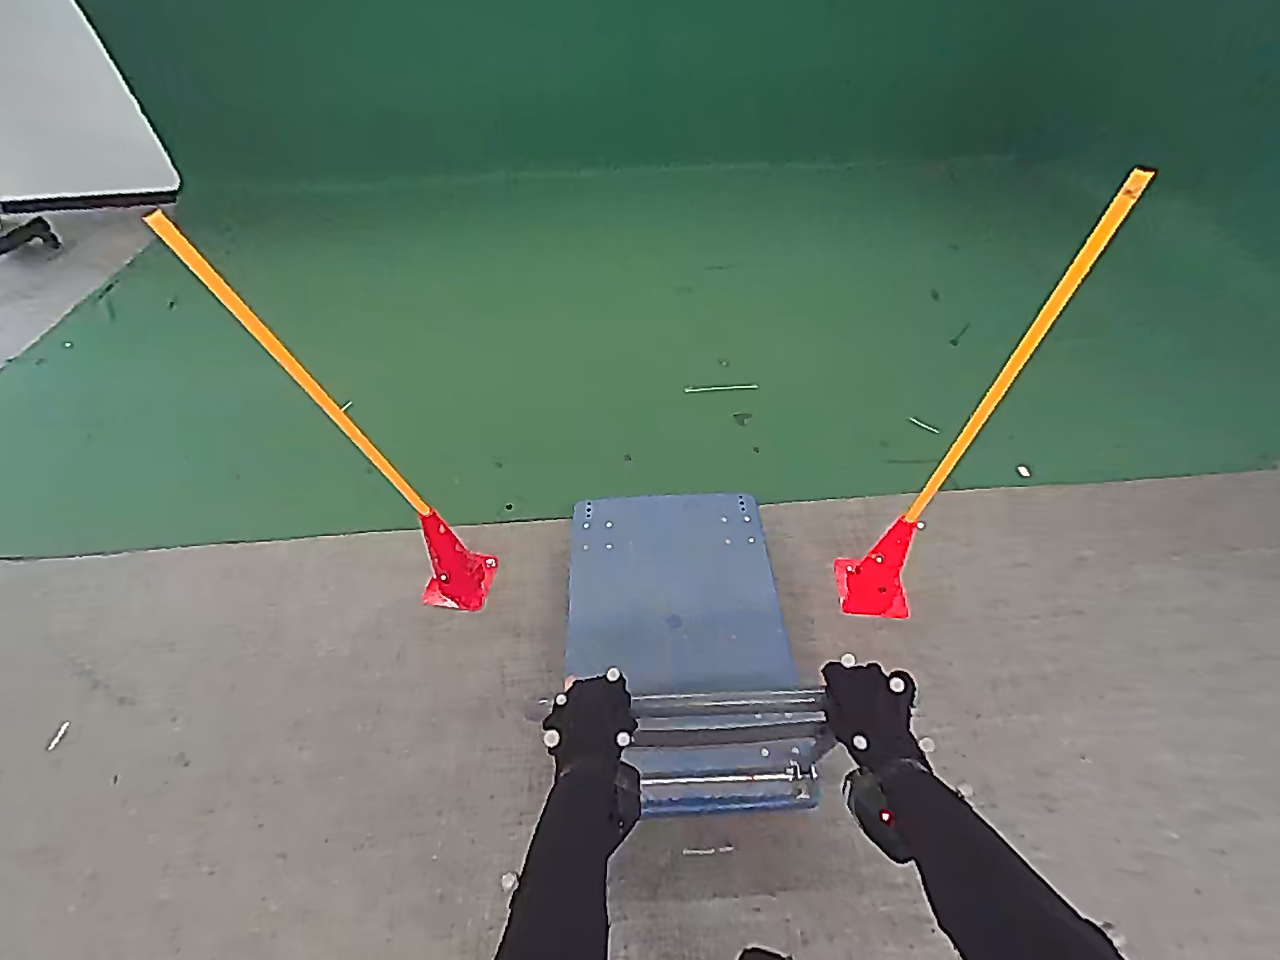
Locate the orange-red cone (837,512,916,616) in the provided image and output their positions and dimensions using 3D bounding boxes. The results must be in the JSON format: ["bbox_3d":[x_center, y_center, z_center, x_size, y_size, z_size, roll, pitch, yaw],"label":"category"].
[{"bbox_3d":[0.713,0.216,1.551,0.198,0.360,0.199,4,50,6],"label":"orange-red cone"}]
